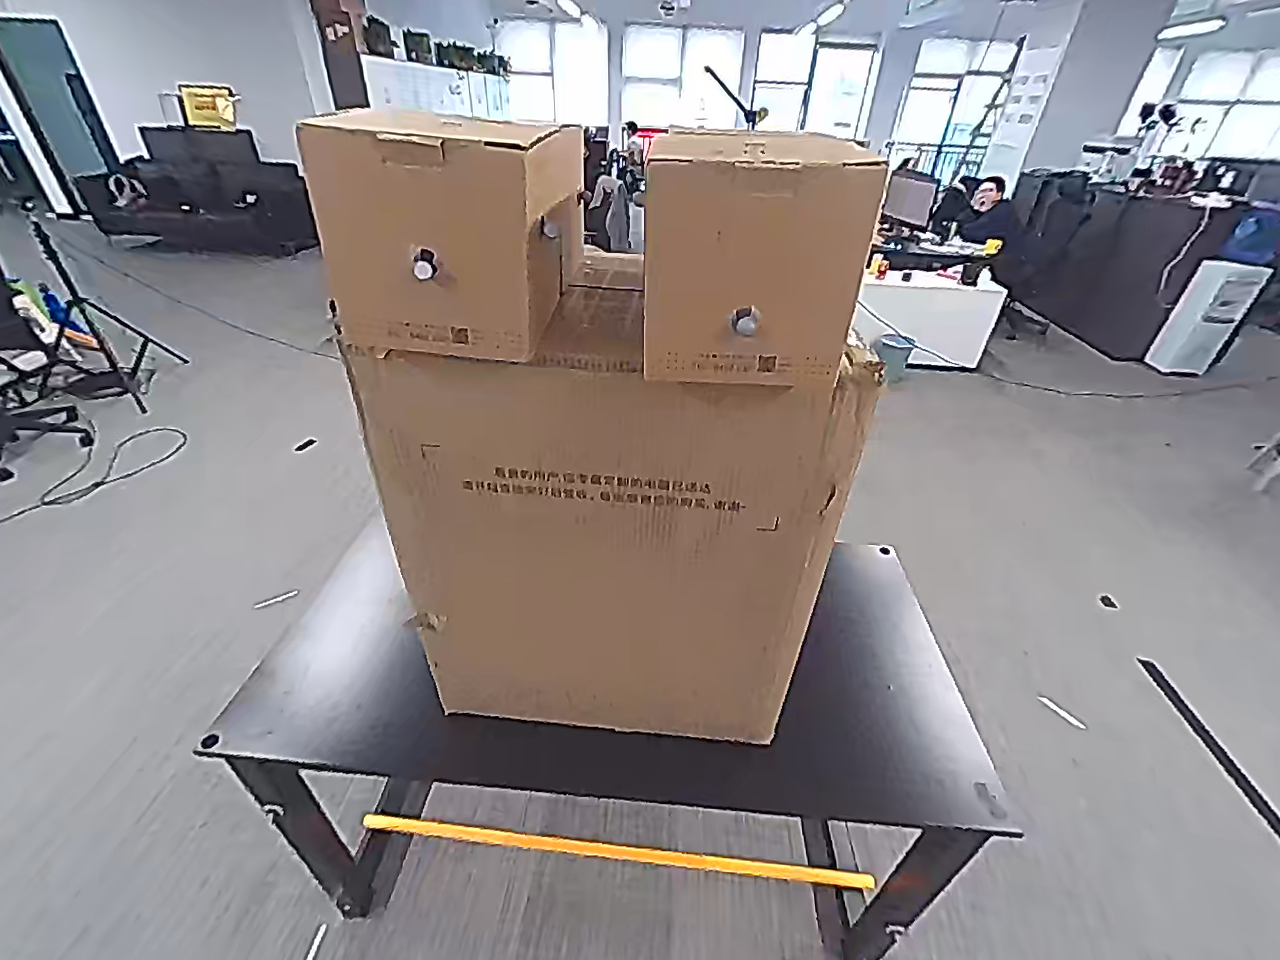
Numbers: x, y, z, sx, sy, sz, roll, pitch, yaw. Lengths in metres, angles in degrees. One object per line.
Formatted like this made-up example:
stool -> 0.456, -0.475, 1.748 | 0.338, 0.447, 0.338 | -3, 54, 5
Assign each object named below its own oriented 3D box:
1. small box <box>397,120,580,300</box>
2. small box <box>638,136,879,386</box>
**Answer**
small box -> -0.166, -0.331, 0.659 | 0.168, 0.176, 0.179 | 3, 34, 1
small box -> 0.086, -0.199, 0.482 | 0.168, 0.176, 0.179 | 2, 37, 3
